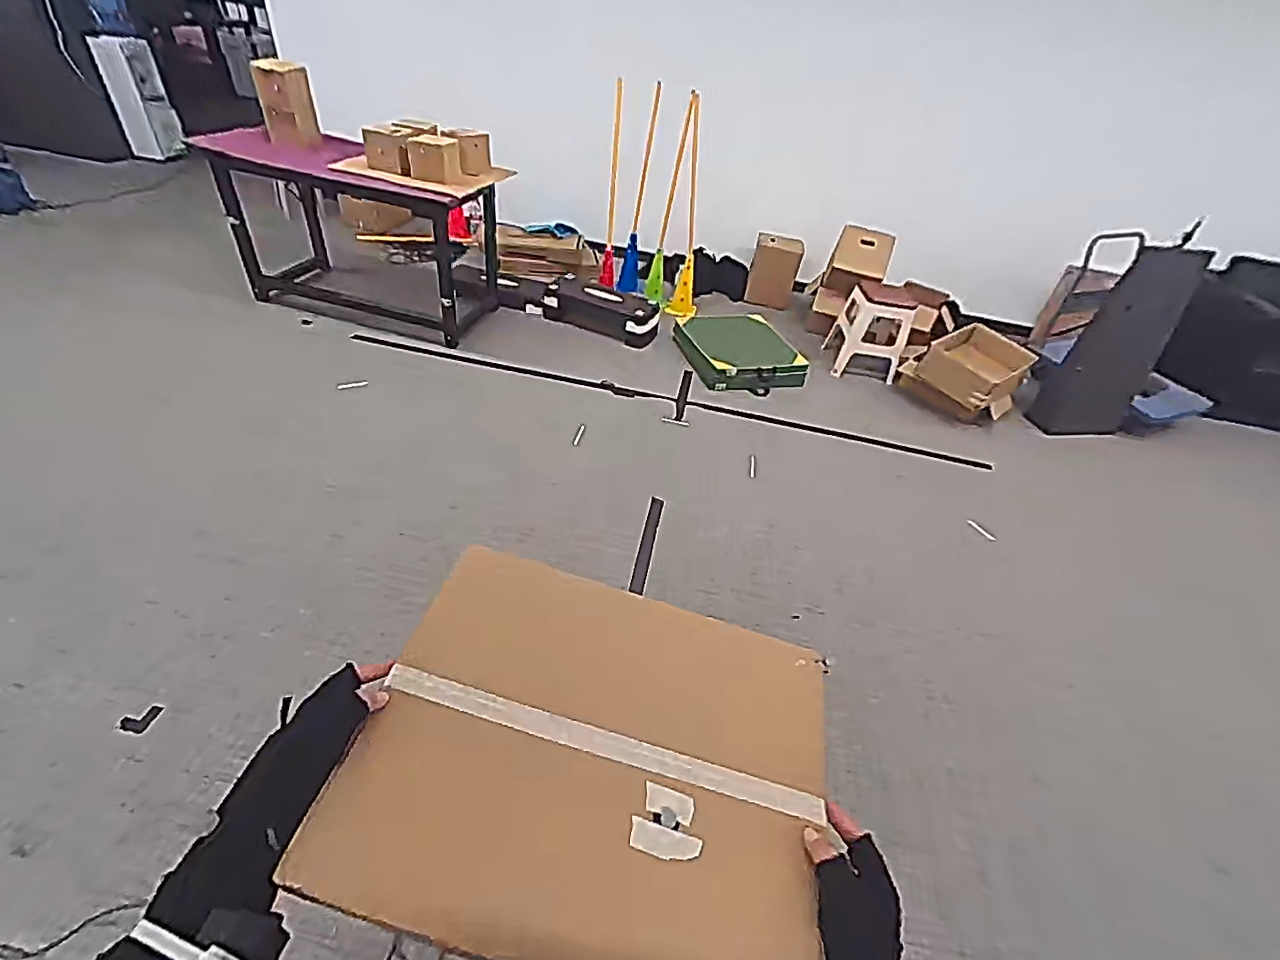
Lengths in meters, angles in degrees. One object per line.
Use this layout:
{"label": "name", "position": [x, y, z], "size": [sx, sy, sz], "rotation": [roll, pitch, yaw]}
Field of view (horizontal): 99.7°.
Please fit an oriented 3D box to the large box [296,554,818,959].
{"label": "large box", "position": [-0.060, 0.339, 0.598], "size": [0.408, 0.320, 0.320], "rotation": [18, 47, 1]}
